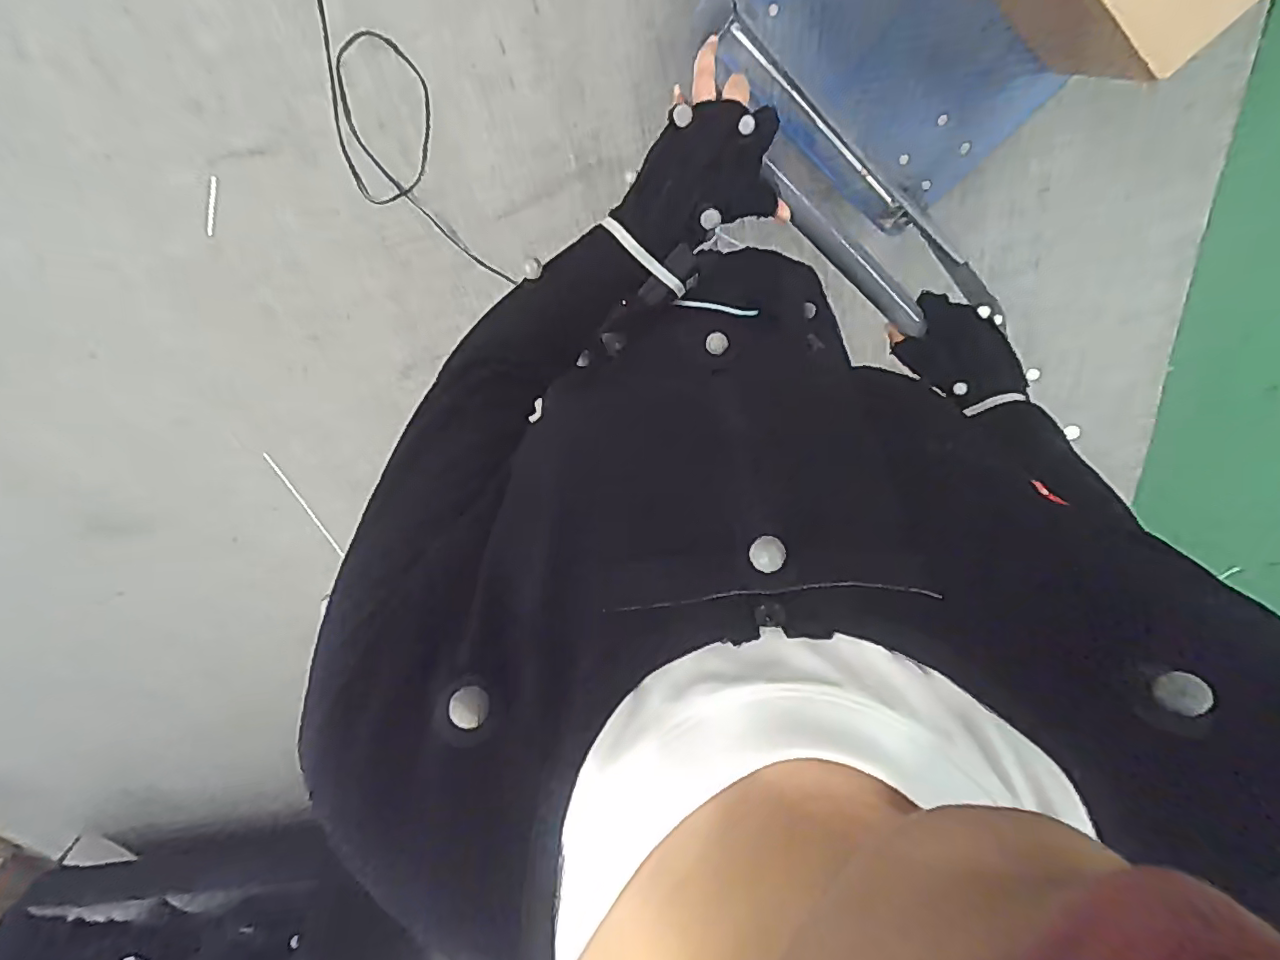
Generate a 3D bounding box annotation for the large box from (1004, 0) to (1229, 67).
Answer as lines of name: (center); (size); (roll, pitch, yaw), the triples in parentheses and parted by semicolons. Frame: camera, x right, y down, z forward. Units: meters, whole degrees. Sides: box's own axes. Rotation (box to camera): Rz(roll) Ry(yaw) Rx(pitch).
large box: (0.611, -0.812, 0.671); (0.408, 0.320, 0.320); (33, 127, -16)
